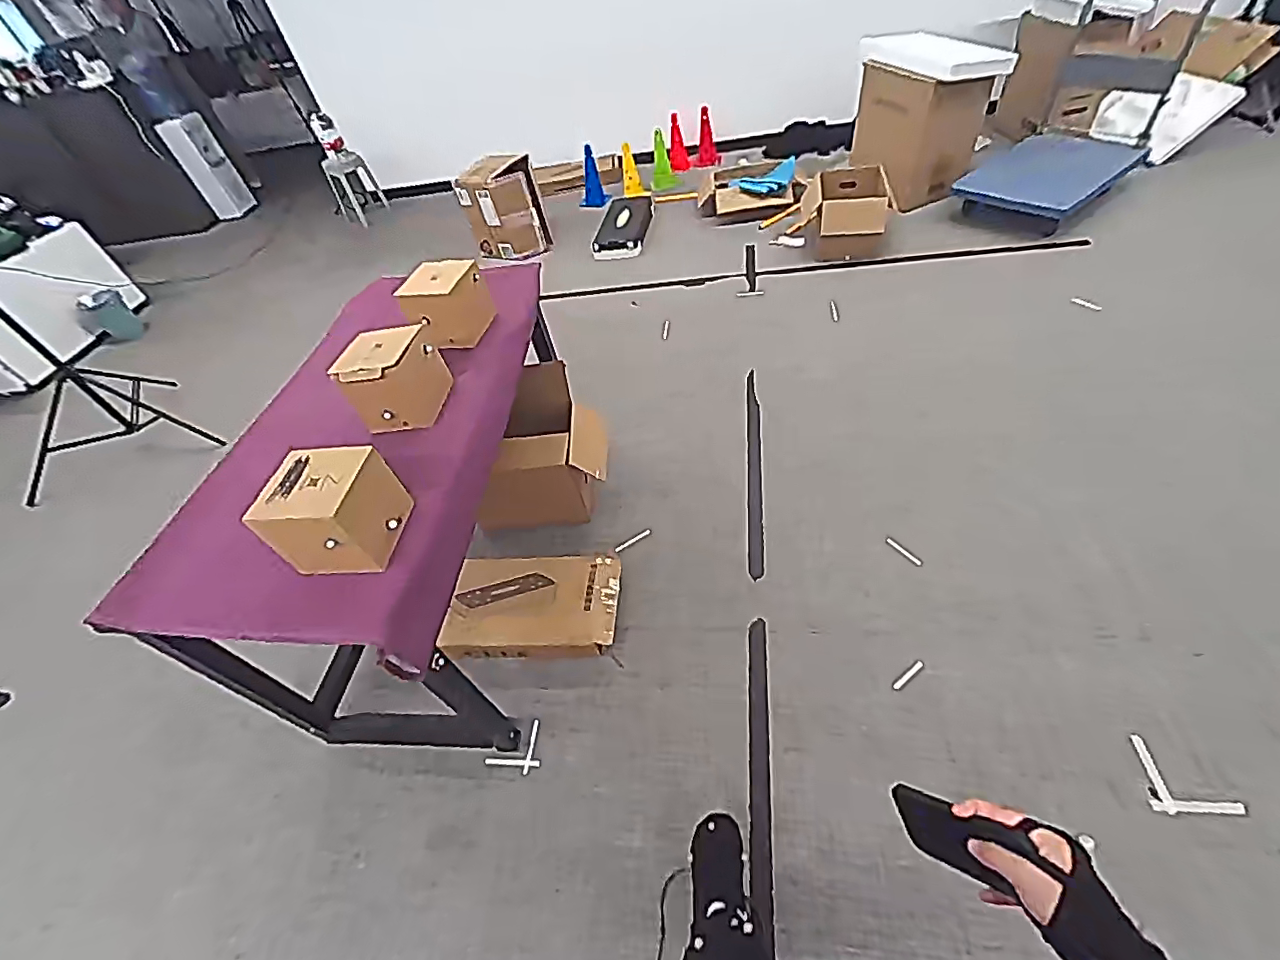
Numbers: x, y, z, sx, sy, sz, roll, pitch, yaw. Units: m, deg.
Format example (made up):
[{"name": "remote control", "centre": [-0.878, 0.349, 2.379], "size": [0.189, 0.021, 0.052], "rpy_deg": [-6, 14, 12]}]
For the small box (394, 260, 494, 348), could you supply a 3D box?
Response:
[{"name": "small box", "centre": [-0.520, -0.471, 1.467], "size": [0.168, 0.176, 0.179], "rpy_deg": [2, 49, 14]}]

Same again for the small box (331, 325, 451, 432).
[{"name": "small box", "centre": [-0.566, -0.234, 1.260], "size": [0.168, 0.176, 0.179], "rpy_deg": [-5, 48, 11]}]
